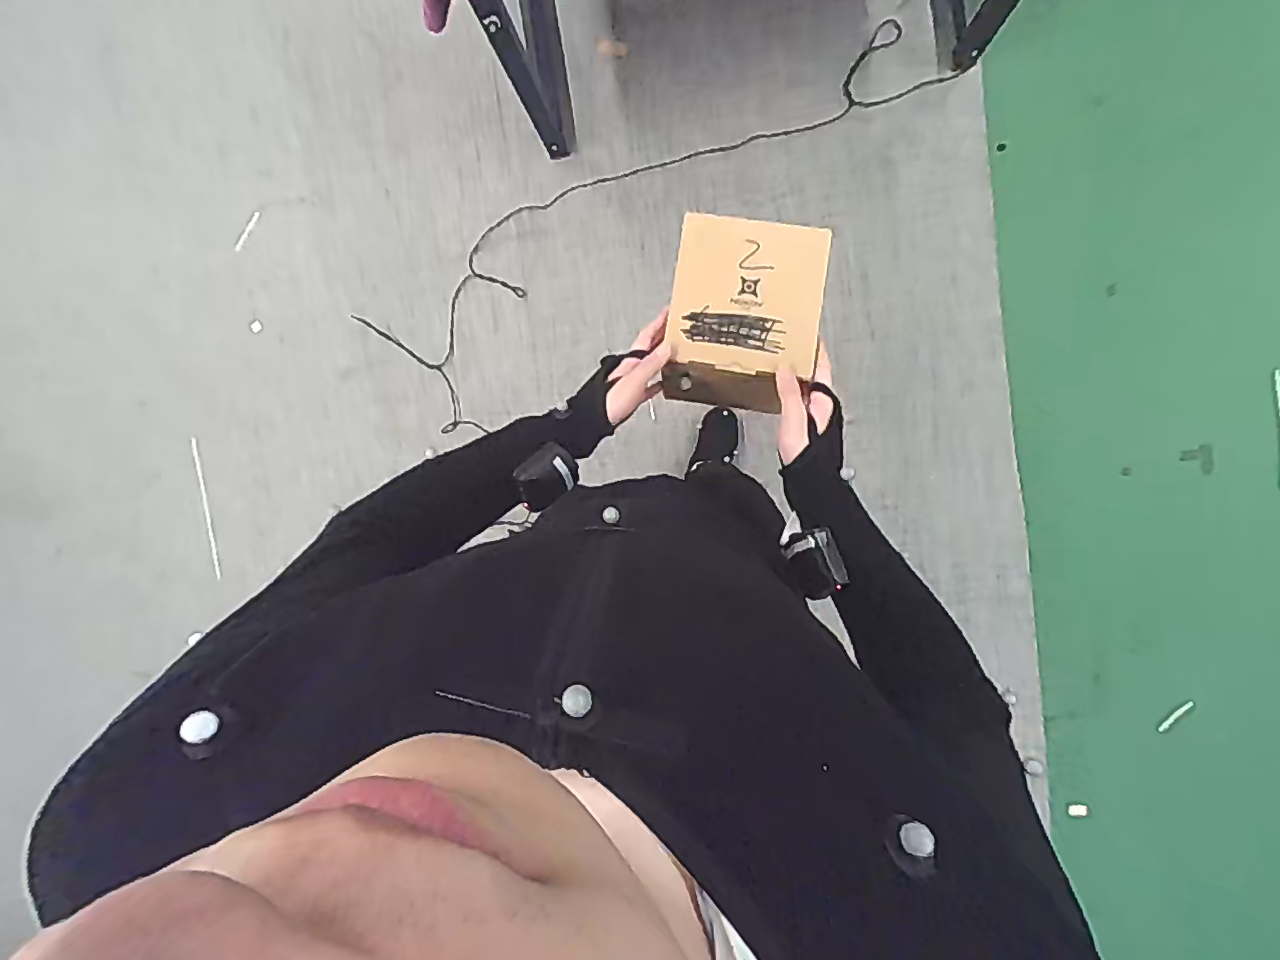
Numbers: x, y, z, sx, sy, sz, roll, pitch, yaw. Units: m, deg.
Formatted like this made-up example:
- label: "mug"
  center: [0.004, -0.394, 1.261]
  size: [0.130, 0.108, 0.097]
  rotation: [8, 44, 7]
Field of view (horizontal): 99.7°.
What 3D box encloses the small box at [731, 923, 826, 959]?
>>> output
- label: "small box"
  center: [0.263, 0.966, 1.001]
  size: [0.179, 0.176, 0.168]
  rotation: [-6, 95, 7]
